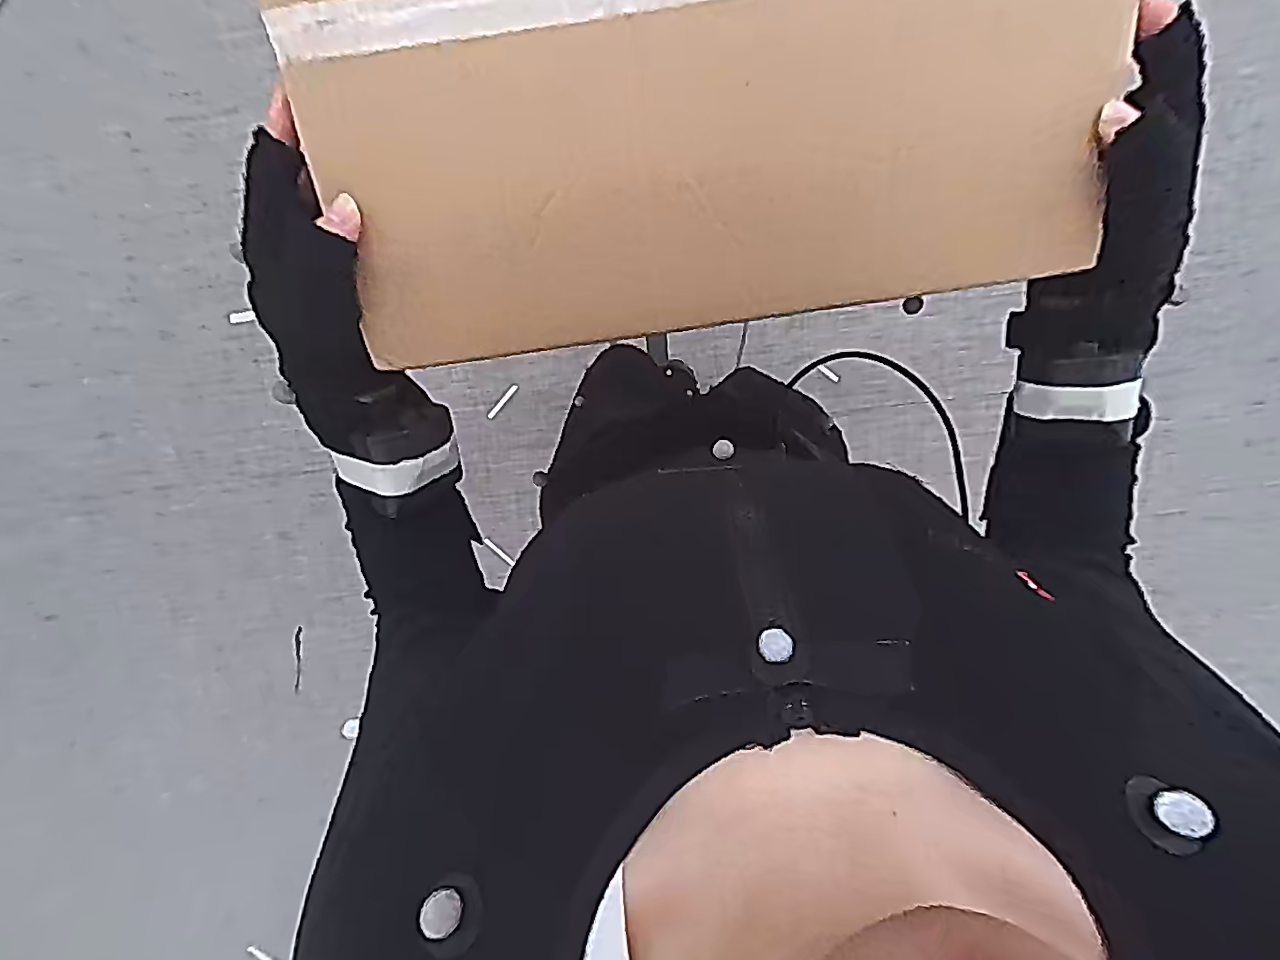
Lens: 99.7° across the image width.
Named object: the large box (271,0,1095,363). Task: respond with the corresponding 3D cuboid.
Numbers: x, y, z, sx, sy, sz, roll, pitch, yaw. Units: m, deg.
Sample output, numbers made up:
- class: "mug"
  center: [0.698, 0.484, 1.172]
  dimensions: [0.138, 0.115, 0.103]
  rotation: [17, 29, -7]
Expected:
- class: "large box"
  center: [0.020, -0.292, 0.396]
  dimensions: [0.408, 0.320, 0.320]
  rotation: [-8, 110, 1]
